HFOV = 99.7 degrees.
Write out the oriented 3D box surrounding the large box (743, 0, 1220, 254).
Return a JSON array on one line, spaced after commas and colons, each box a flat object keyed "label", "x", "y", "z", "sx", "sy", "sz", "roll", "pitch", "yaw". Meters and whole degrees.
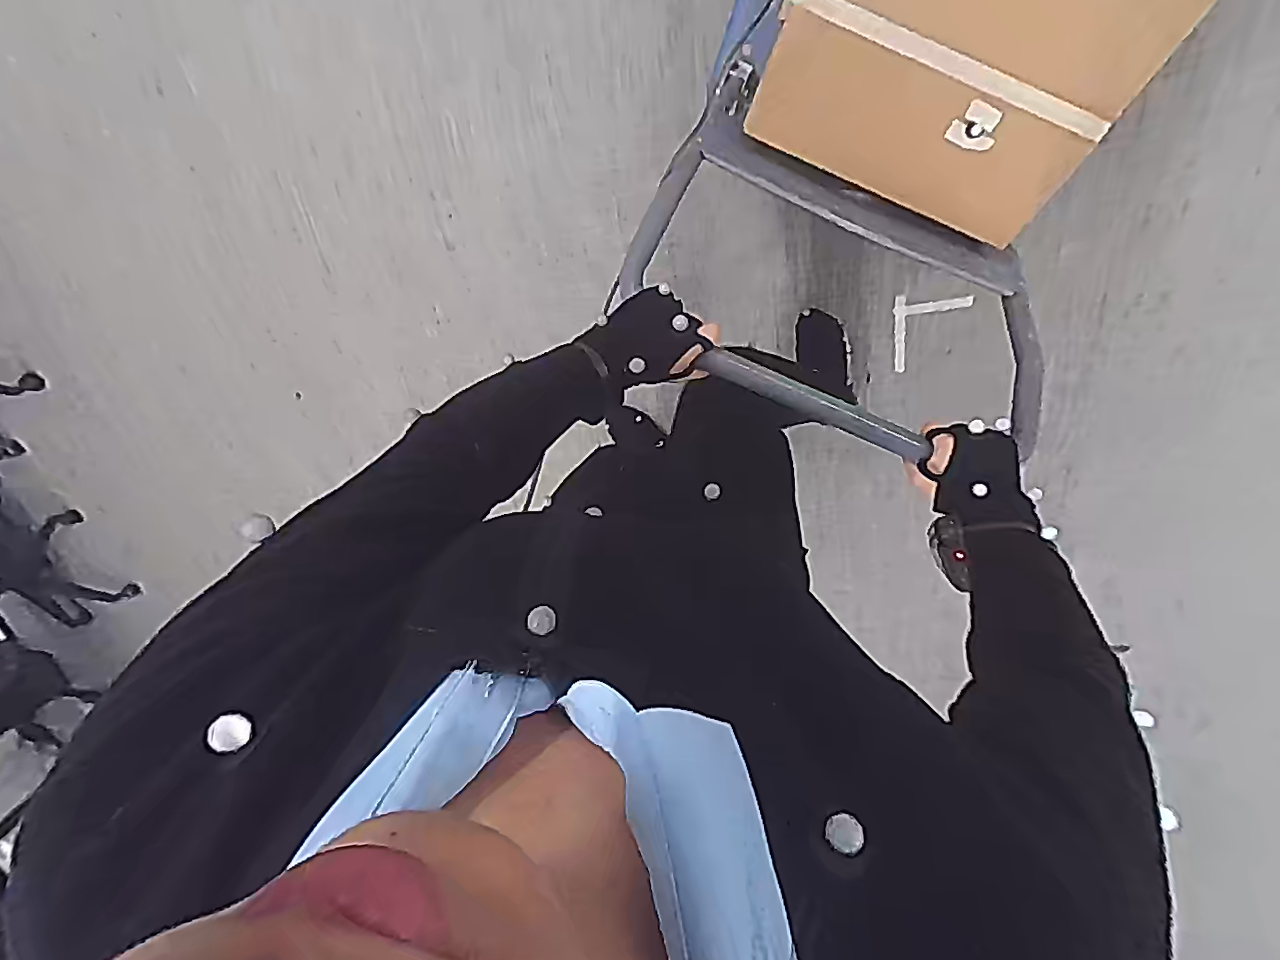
[{"label": "large box", "x": 0.401, "y": -0.586, "z": 0.735, "sx": 0.408, "sy": 0.320, "sz": 0.320, "roll": 23, "pitch": 141, "yaw": -3}]
